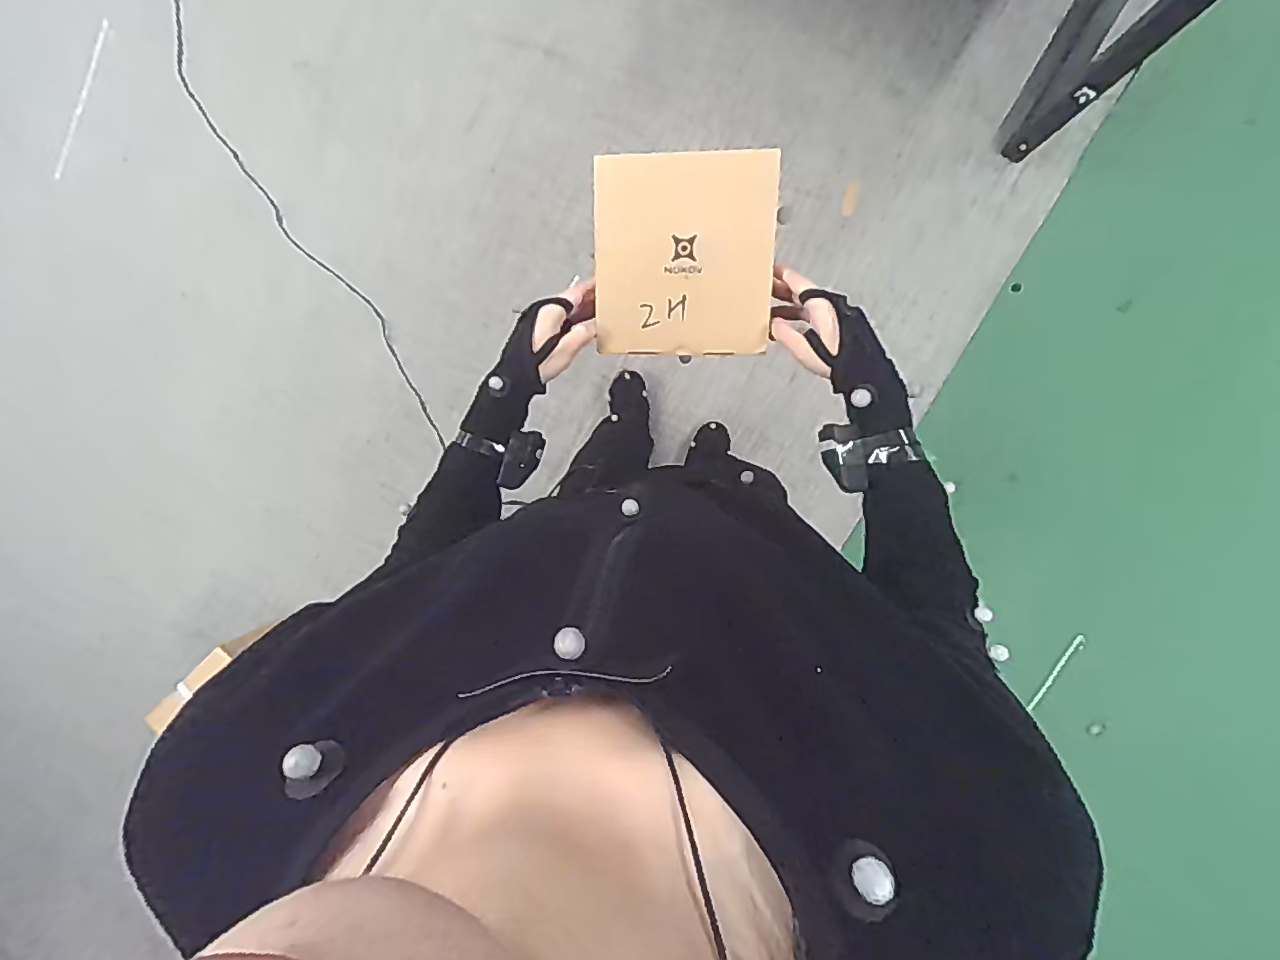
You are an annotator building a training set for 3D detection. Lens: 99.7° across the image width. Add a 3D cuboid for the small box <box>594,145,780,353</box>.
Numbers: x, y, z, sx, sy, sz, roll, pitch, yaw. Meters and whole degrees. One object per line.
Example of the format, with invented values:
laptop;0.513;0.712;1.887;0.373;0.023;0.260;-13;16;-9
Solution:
small box;0.048;-0.228;0.571;0.168;0.176;0.179;3;107;8
